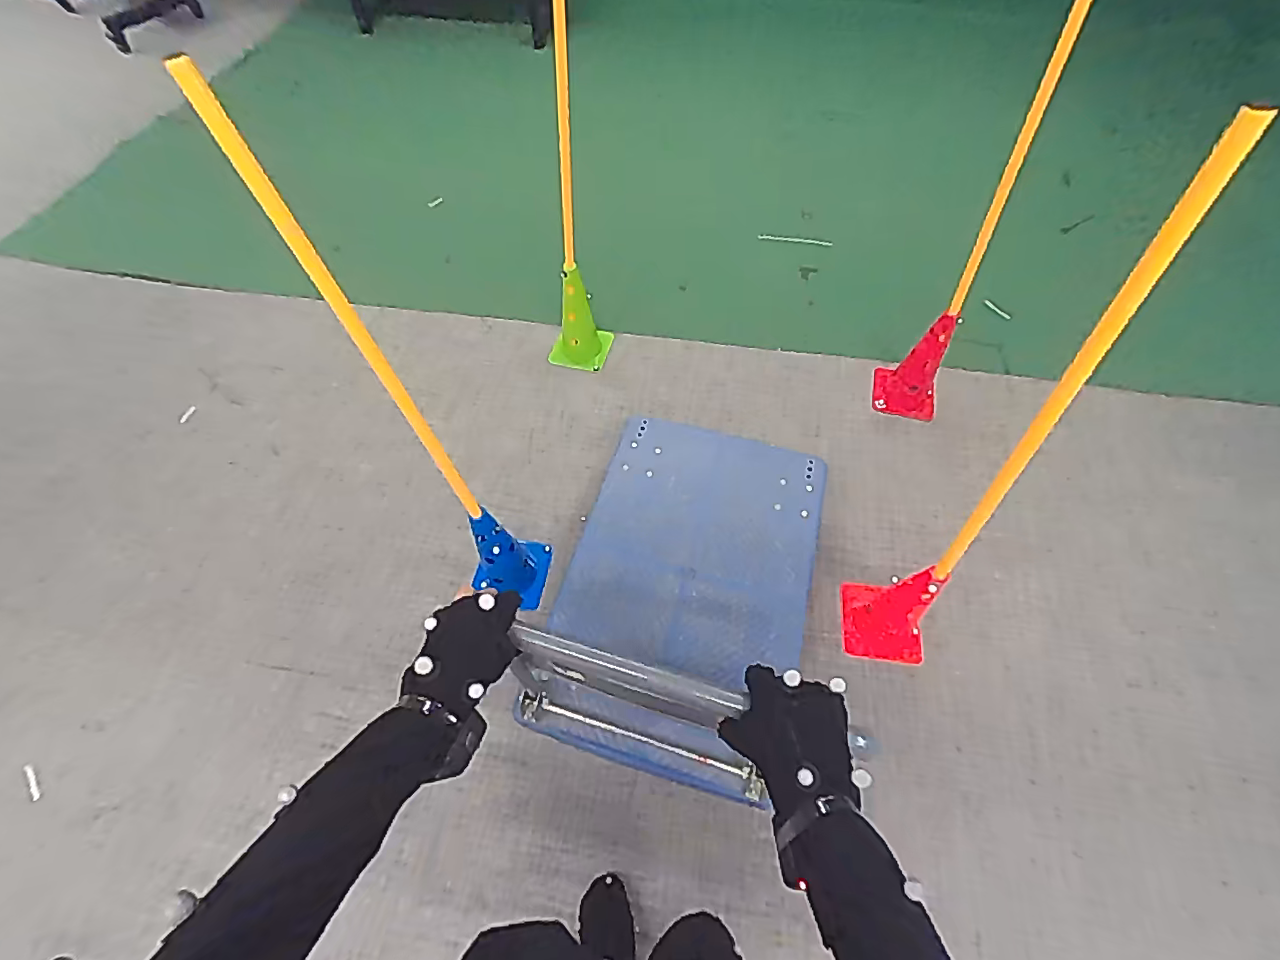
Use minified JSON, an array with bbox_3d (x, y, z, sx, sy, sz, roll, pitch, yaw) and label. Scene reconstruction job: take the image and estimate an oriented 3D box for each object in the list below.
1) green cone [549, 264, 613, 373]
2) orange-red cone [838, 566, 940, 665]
[{"bbox_3d":[-0.218,-0.568,1.835,0.202,0.368,0.200,12,59,9],"label":"green cone"},{"bbox_3d":[0.626,0.295,1.302,0.199,0.360,0.198,7,58,7],"label":"orange-red cone"}]
